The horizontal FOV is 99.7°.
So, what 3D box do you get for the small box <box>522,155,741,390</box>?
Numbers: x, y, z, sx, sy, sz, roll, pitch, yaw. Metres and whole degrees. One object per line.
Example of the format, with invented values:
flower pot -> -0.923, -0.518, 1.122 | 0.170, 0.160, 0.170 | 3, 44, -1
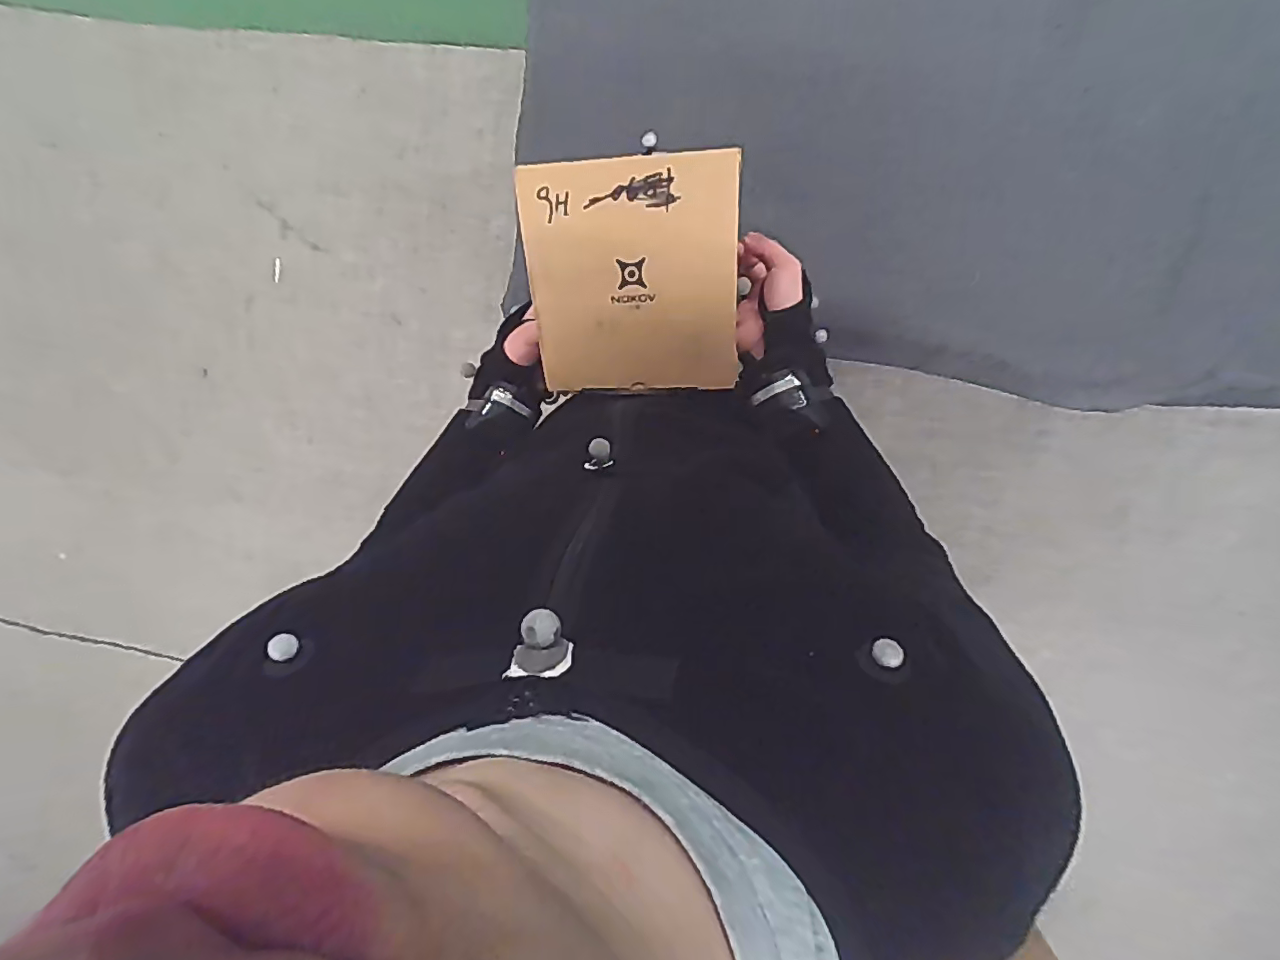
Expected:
small box -> 0.006, -0.197, 0.505 | 0.168, 0.176, 0.179 | 1, 121, 7
